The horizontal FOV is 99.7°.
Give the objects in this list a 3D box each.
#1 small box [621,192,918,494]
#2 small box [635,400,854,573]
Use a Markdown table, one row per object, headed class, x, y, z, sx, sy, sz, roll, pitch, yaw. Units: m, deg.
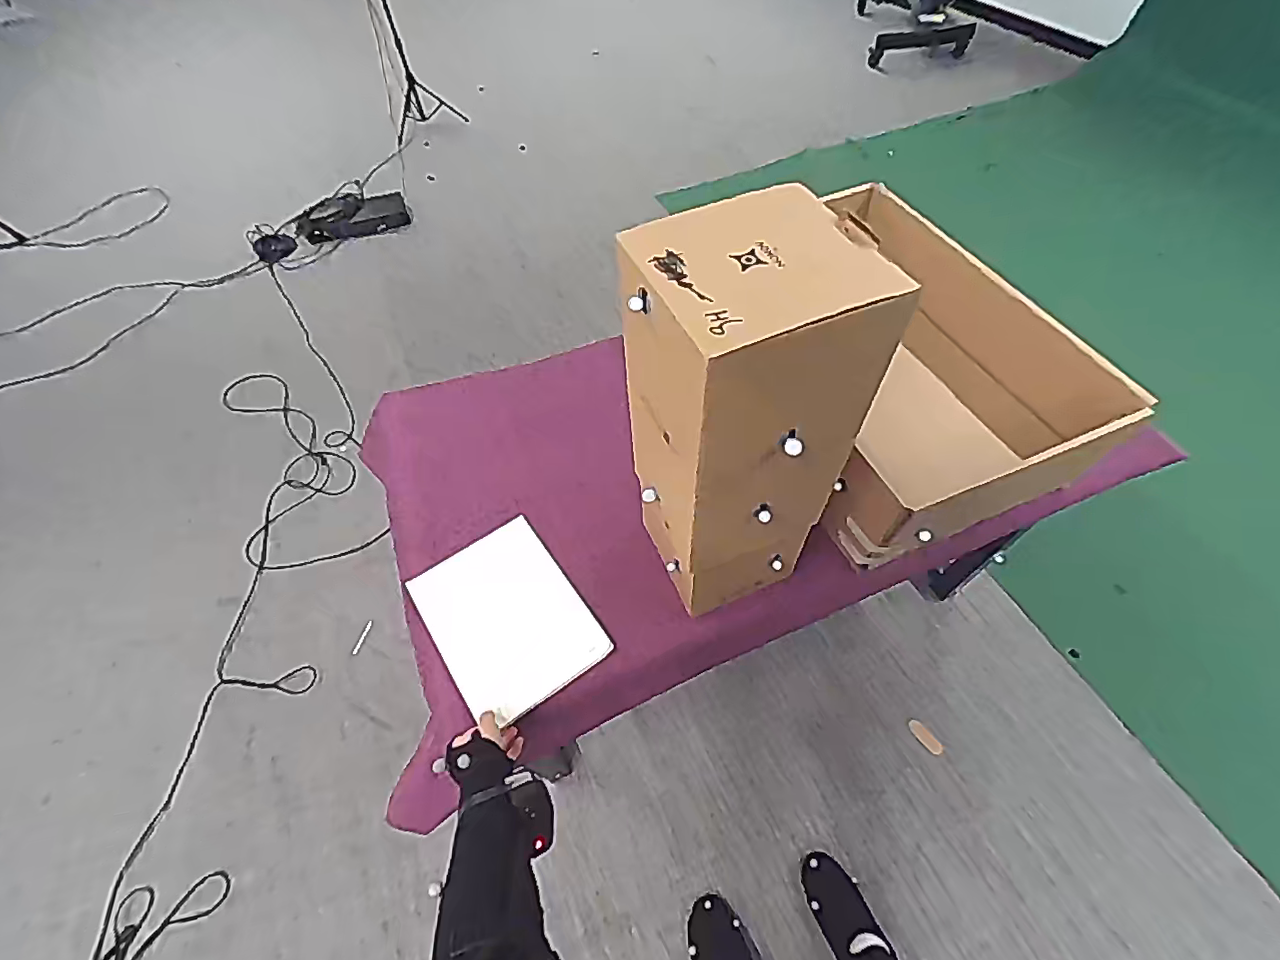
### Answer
| class | x | y | z | sx | sy | sz | roll | pitch | yaw |
| --- | --- | --- | --- | --- | --- | --- | --- | --- | --- |
| small box | 0.094 | -0.117 | 0.477 | 0.179 | 0.176 | 0.168 | -20 | 55 | -11 |
| small box | 0.102 | -0.023 | 0.613 | 0.179 | 0.176 | 0.168 | -20 | 56 | -9 |
